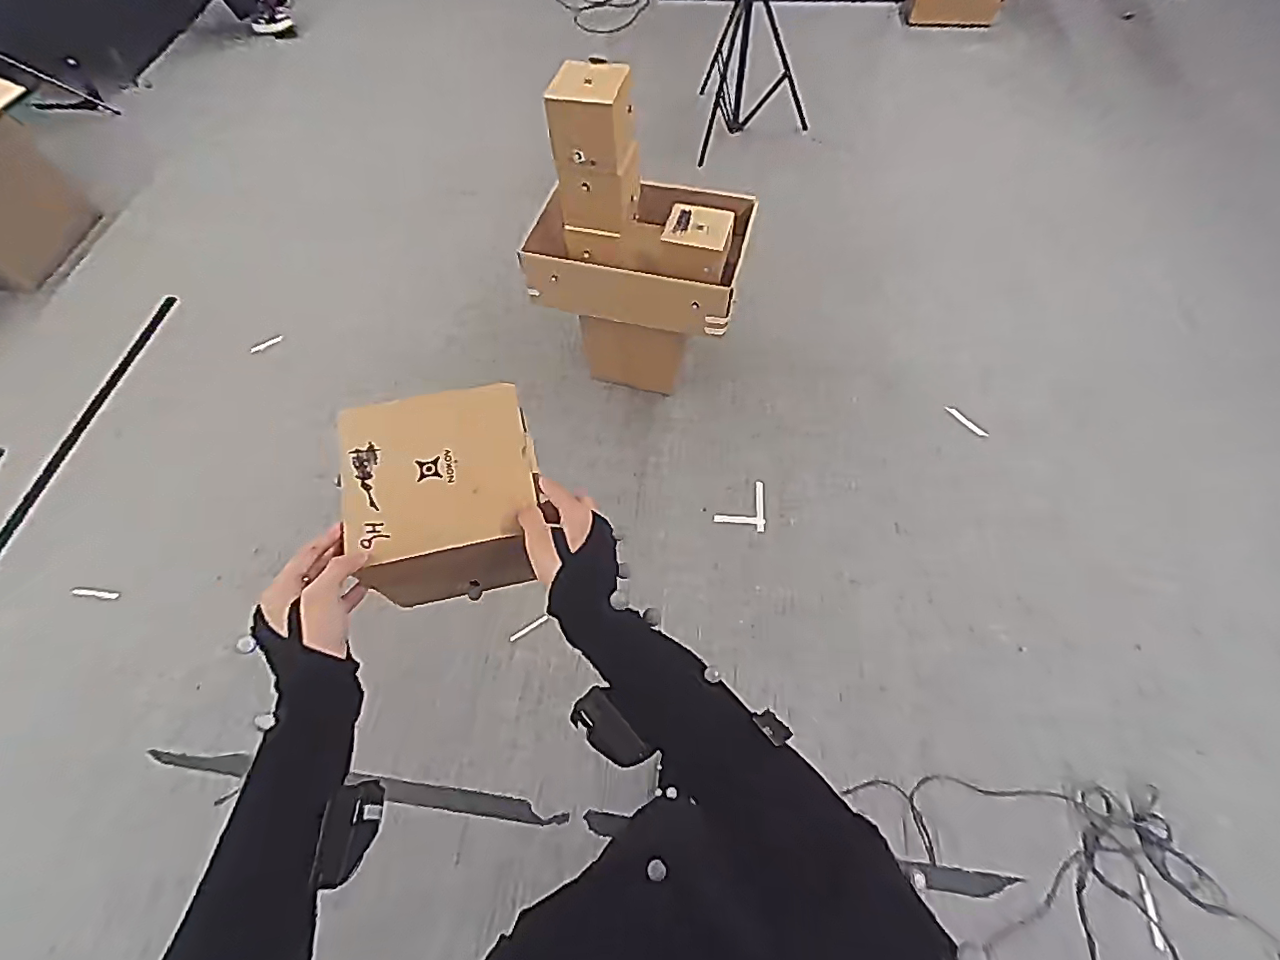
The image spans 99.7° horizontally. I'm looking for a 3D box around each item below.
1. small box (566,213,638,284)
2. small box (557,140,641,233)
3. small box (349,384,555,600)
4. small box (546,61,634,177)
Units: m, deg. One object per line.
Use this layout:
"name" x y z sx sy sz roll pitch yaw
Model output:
"small box" -0.104 -0.707 1.590 0.168 0.176 0.179 12 62 8
"small box" -0.102 -0.791 1.448 0.179 0.176 0.168 14 63 8
"small box" -0.190 0.019 0.582 0.179 0.176 0.168 -10 67 -11
"small box" -0.112 -0.870 1.305 0.168 0.176 0.179 11 61 9
